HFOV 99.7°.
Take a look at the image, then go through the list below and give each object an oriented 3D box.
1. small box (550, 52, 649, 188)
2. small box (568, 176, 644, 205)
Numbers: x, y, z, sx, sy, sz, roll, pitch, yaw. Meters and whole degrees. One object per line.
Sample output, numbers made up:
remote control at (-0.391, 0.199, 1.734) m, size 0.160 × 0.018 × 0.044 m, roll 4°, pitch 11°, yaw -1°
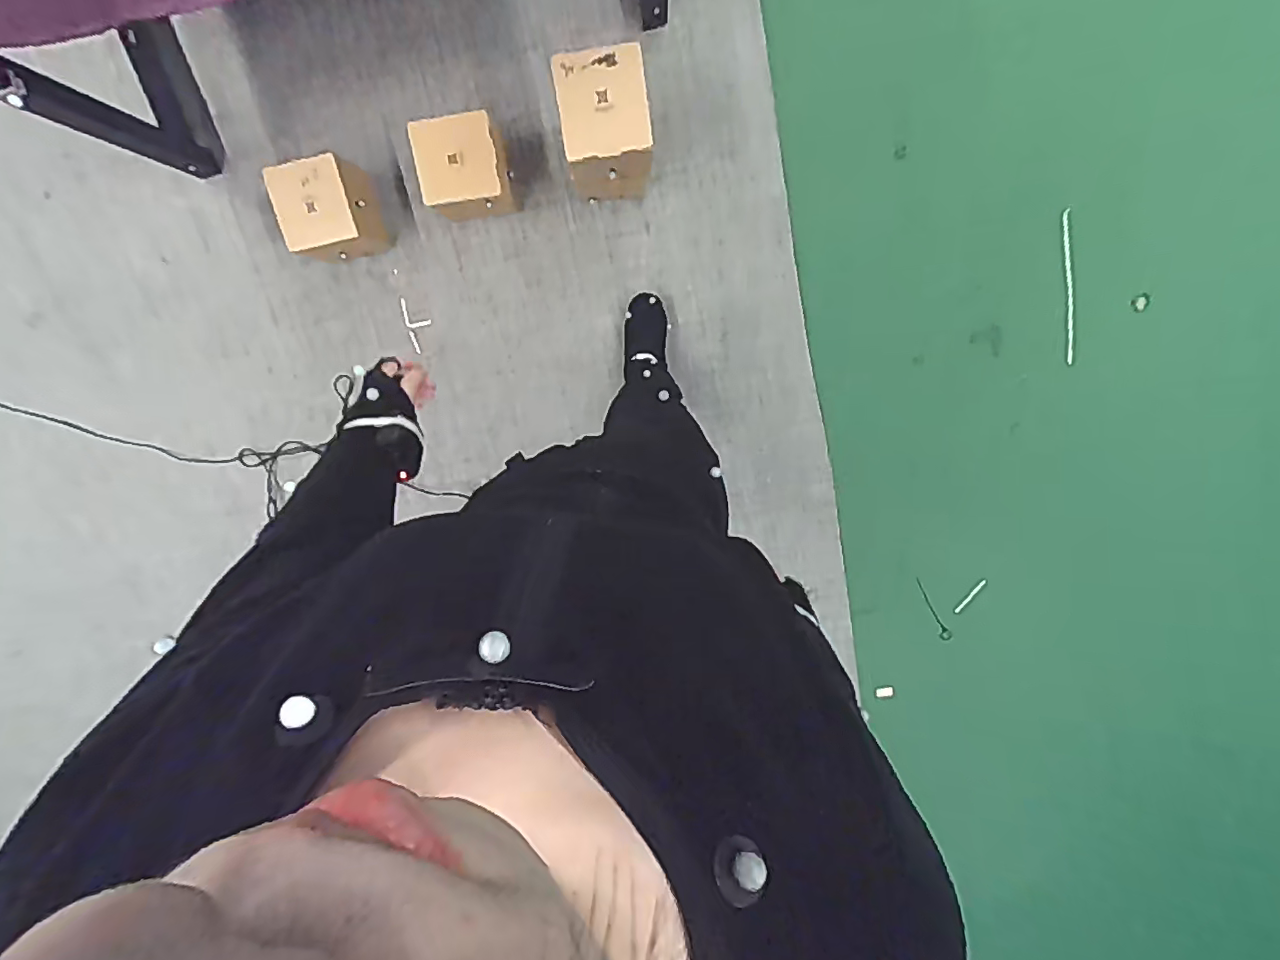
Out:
small box at (-0.072, -0.696, 1.070) m, size 0.168 × 0.176 × 0.179 m, roll -7°, pitch 104°, yaw 2°
small box at (-0.076, -0.740, 1.229) m, size 0.168 × 0.176 × 0.179 m, roll -3°, pitch 102°, yaw 1°
